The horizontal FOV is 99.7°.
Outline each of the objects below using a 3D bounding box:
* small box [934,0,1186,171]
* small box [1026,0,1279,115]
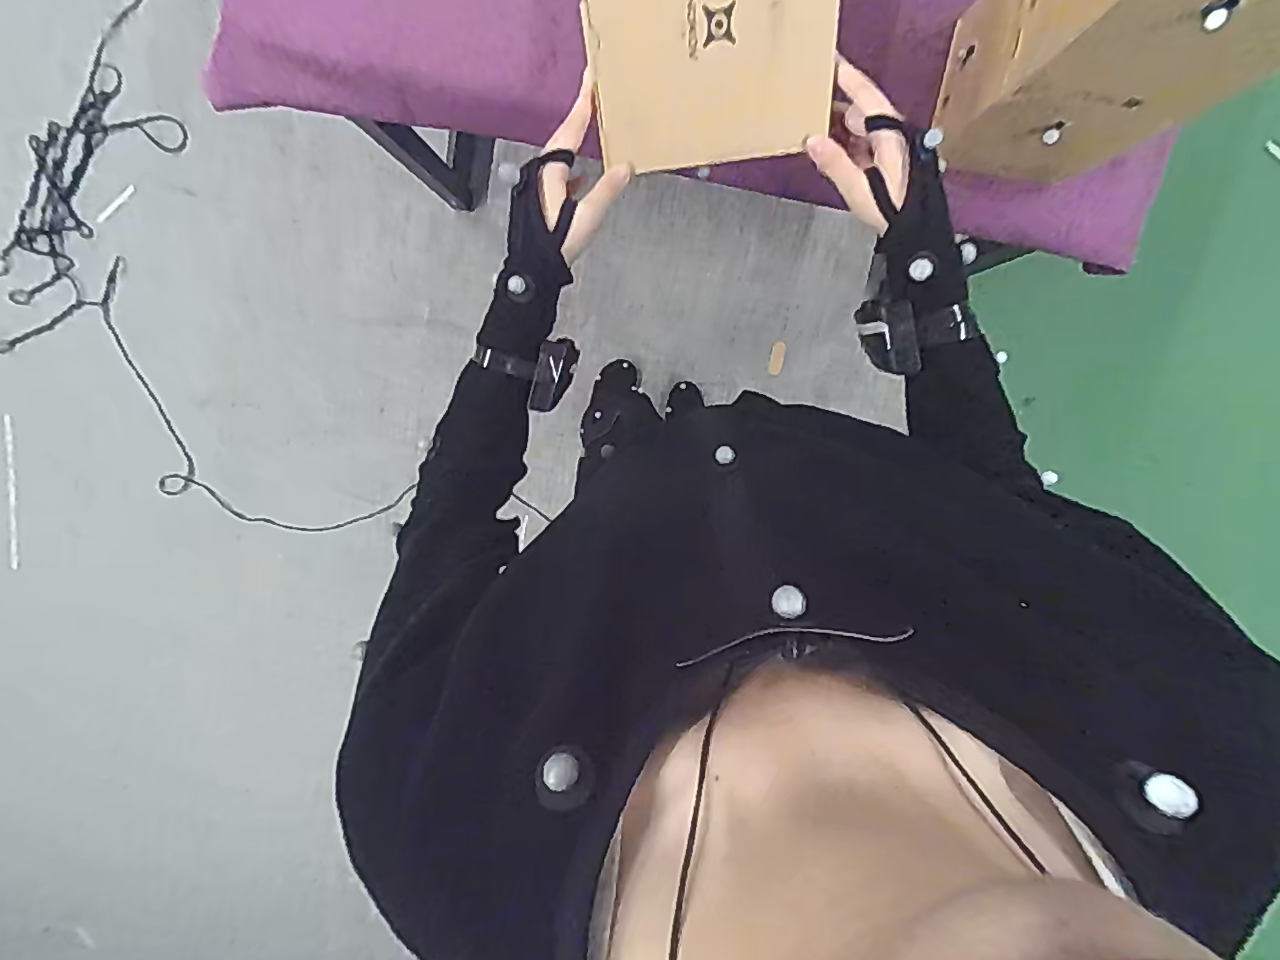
[{"bbox_3d":[0.461,-0.460,0.588,0.179,0.176,0.168,10,100,3],"label":"small box"},{"bbox_3d":[0.451,-0.434,0.427,0.168,0.176,0.179,11,100,4],"label":"small box"}]
